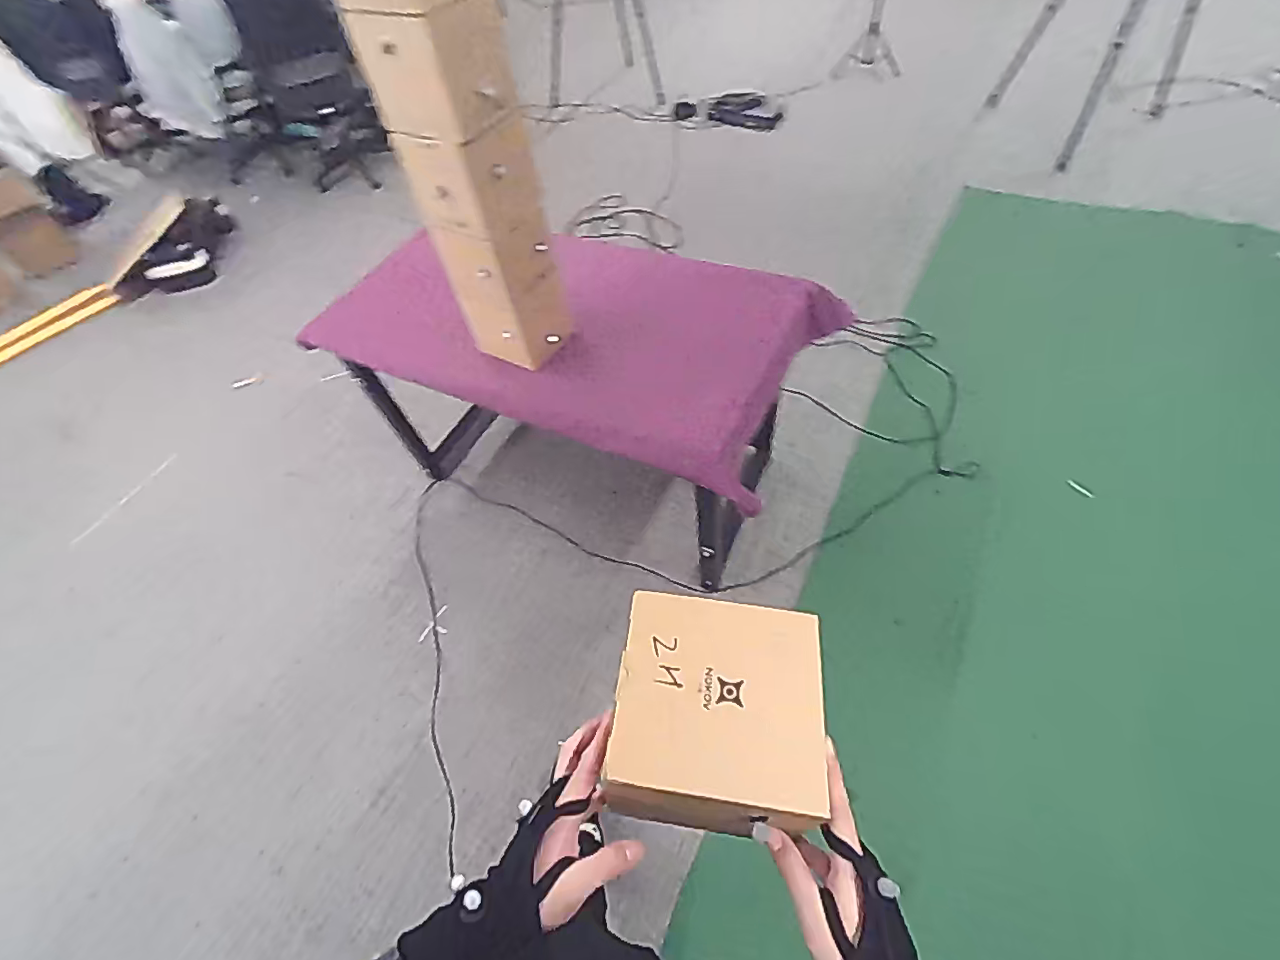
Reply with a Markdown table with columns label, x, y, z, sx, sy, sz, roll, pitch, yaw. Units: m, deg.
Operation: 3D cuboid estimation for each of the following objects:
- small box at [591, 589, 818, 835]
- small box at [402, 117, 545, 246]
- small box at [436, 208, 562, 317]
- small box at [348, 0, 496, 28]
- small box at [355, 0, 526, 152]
| label | x | y | z | sx | sy | sz | roll | pitch | yaw |
| --- | --- | --- | --- | --- | --- | --- | --- | --- | --- |
| small box | 0.059 | 0.227 | 0.521 | 0.179 | 0.176 | 0.168 | 6 | 50 | 5 |
| small box | -0.305 | -0.577 | 1.032 | 0.168 | 0.176 | 0.179 | 24 | 60 | 22 |
| small box | -0.292 | -0.476 | 1.159 | 0.179 | 0.176 | 0.168 | 24 | 60 | 23 |
| small box | -0.329 | -0.771 | 0.770 | 0.179 | 0.176 | 0.168 | 23 | 59 | 22 |
| small box | -0.319 | -0.675 | 0.901 | 0.179 | 0.176 | 0.168 | 23 | 59 | 20 |
